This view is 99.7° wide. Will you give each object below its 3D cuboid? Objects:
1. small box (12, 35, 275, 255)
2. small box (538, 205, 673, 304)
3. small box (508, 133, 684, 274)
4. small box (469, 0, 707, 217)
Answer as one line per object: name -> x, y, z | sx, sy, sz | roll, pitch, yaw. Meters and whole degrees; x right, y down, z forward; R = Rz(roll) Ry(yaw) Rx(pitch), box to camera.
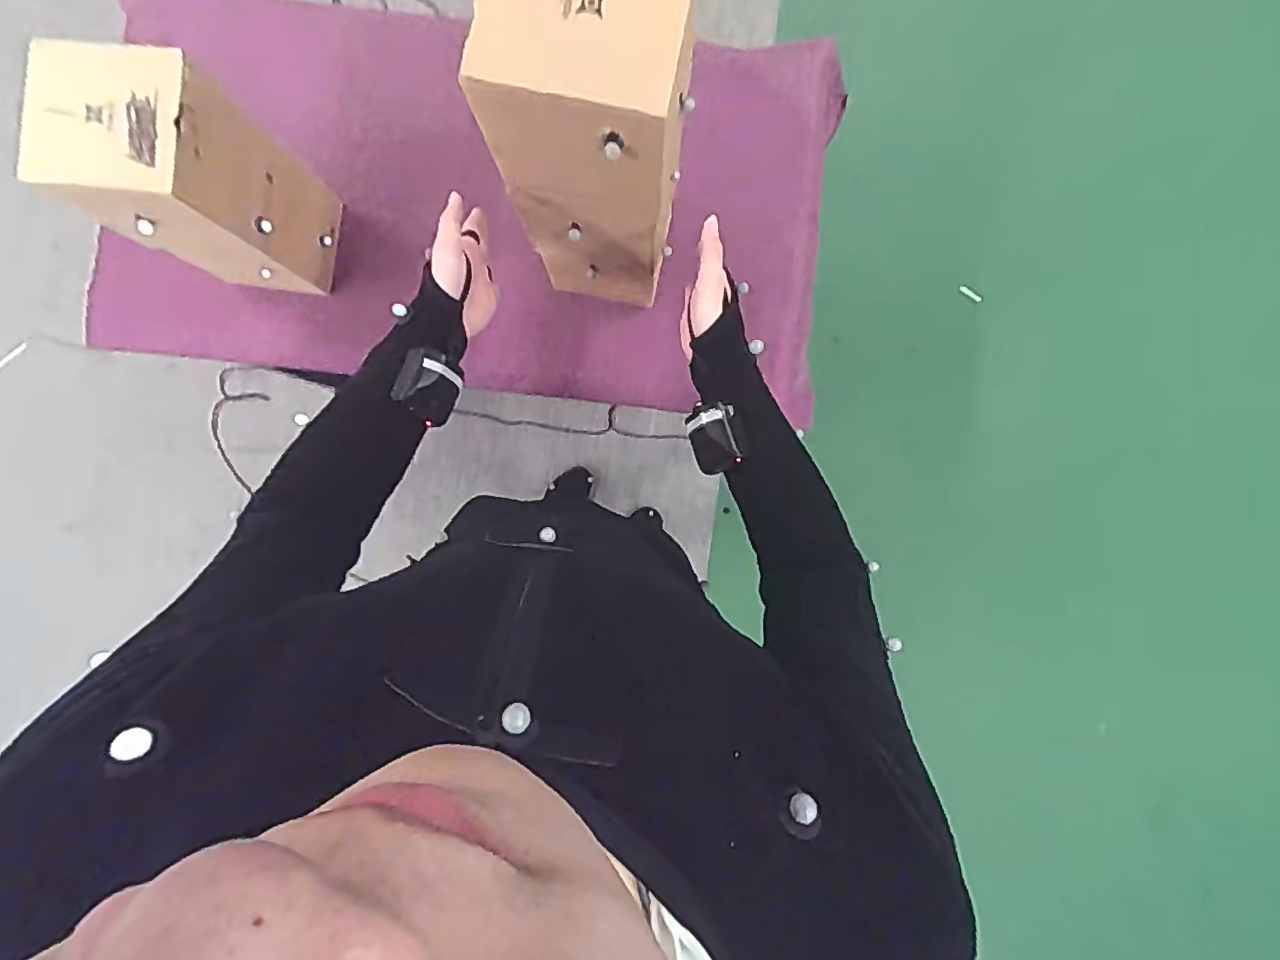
small box -> -0.594, -0.397, 0.672 | 0.179, 0.176, 0.168 | 4, 89, -1
small box -> -0.045, -0.391, 0.849 | 0.179, 0.176, 0.168 | 11, 89, 0
small box -> -0.046, -0.383, 0.686 | 0.179, 0.176, 0.168 | 12, 90, 0
small box -> -0.039, -0.382, 0.520 | 0.179, 0.176, 0.168 | 11, 88, 0
